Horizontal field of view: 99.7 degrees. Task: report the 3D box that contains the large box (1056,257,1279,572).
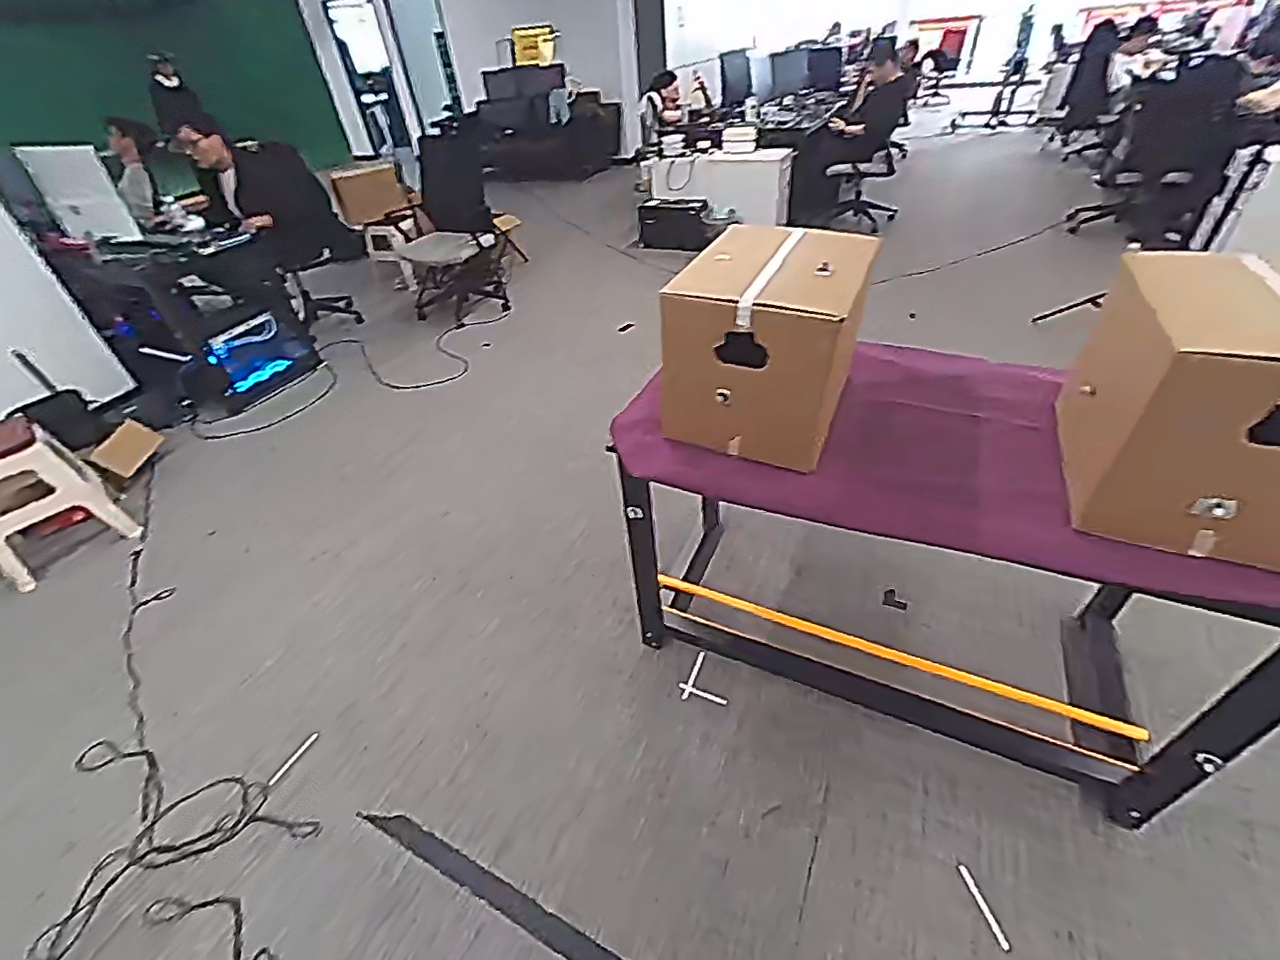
[{"bbox_3d":[0.894,-0.116,0.827,0.320,0.320,0.408,14,42,22],"label":"large box"}]
